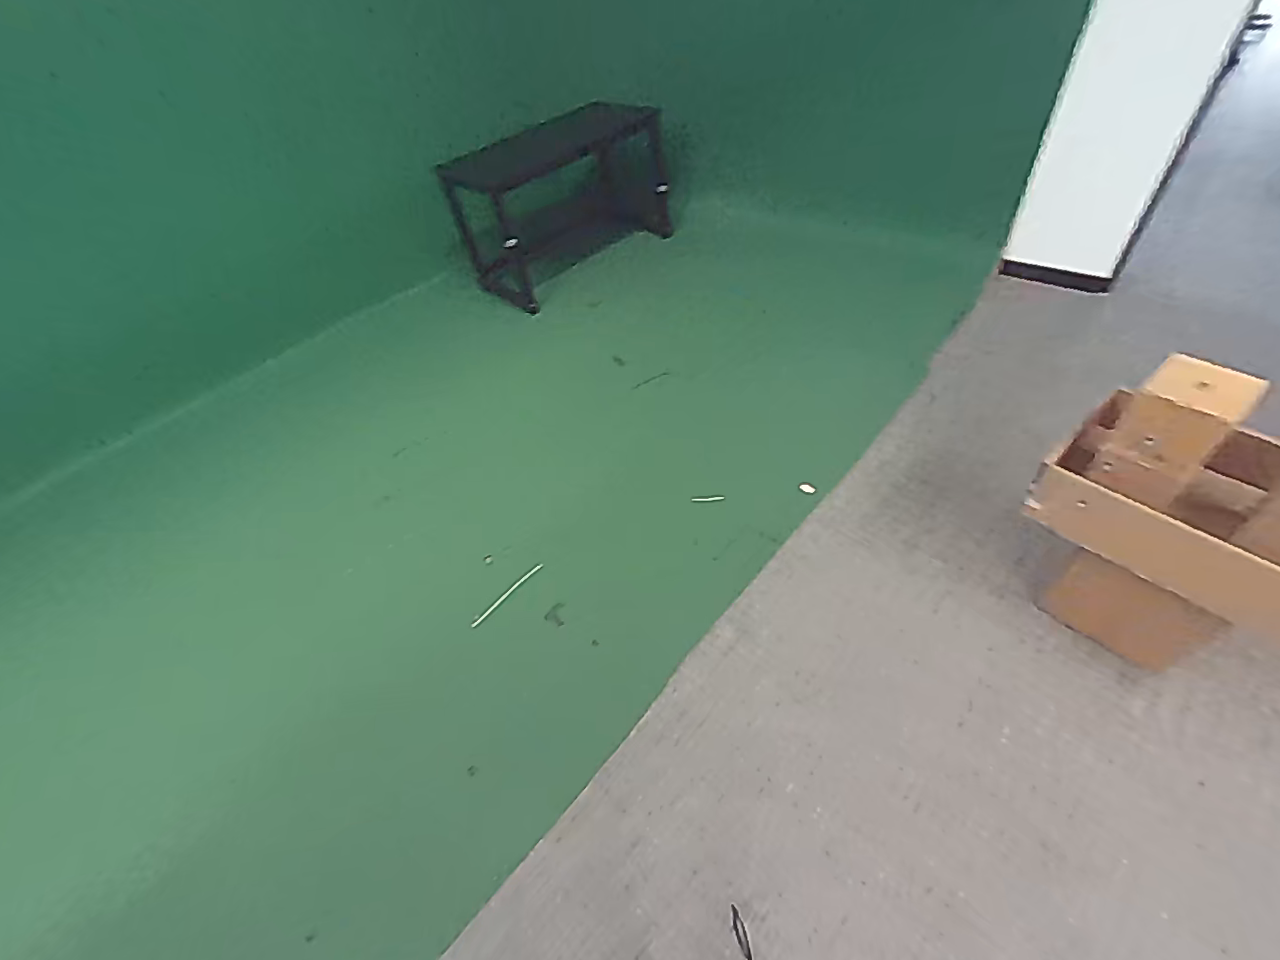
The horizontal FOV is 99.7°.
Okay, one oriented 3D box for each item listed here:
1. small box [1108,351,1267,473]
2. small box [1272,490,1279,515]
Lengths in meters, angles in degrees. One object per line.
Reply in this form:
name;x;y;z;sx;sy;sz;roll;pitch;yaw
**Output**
small box;1.200;-0.149;1.200;0.179;0.176;0.168;-35;52;-20
small box;1.383;0.002;1.027;0.179;0.176;0.168;-36;51;-19
